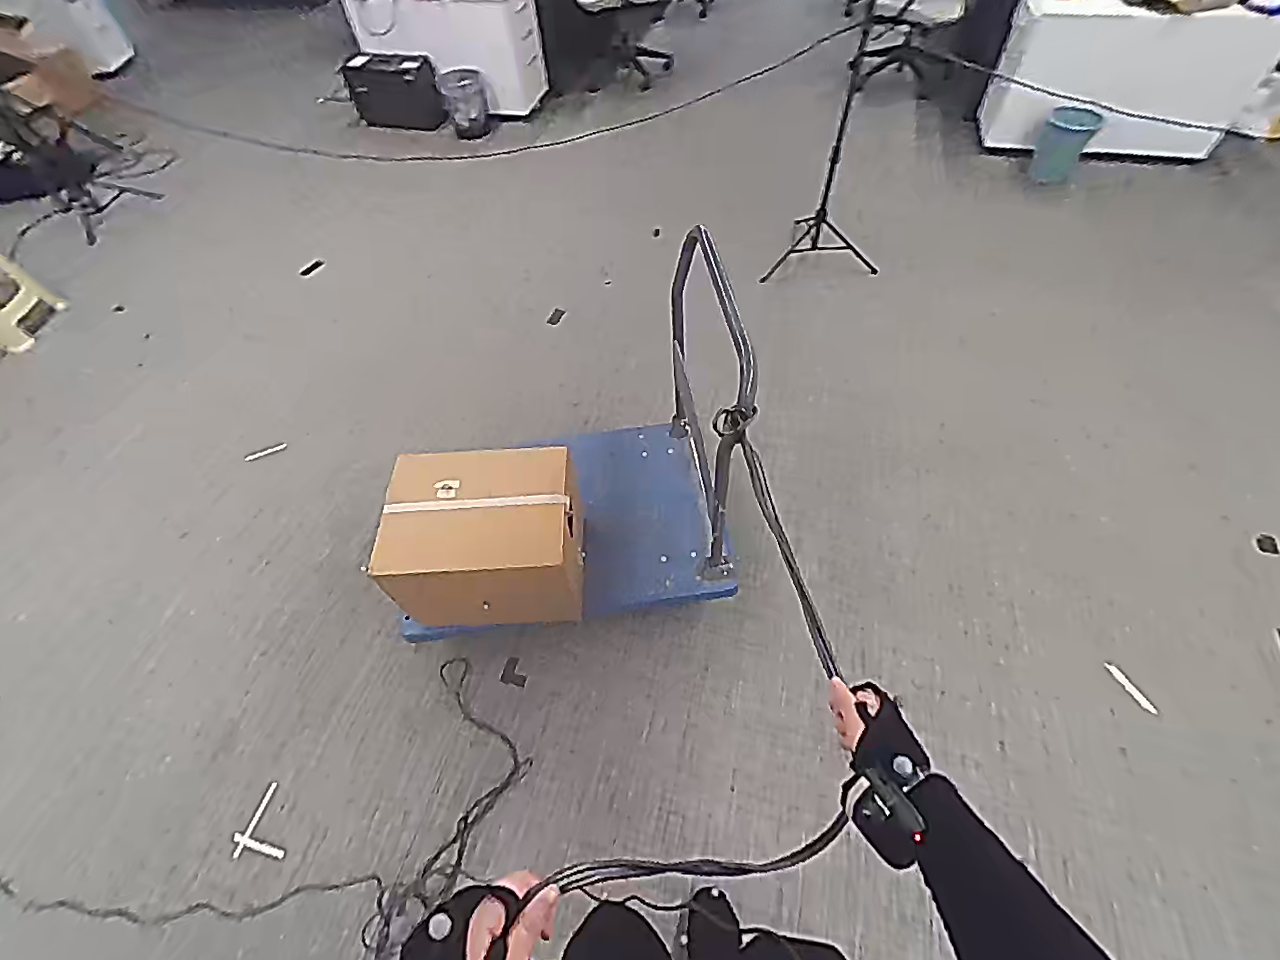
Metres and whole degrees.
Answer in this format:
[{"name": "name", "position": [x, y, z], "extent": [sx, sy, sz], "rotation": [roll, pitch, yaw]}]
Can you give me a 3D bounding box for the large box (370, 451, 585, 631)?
[{"name": "large box", "position": [-0.351, 0.156, 1.300], "extent": [0.408, 0.320, 0.320], "rotation": [-4, 54, 1]}]
